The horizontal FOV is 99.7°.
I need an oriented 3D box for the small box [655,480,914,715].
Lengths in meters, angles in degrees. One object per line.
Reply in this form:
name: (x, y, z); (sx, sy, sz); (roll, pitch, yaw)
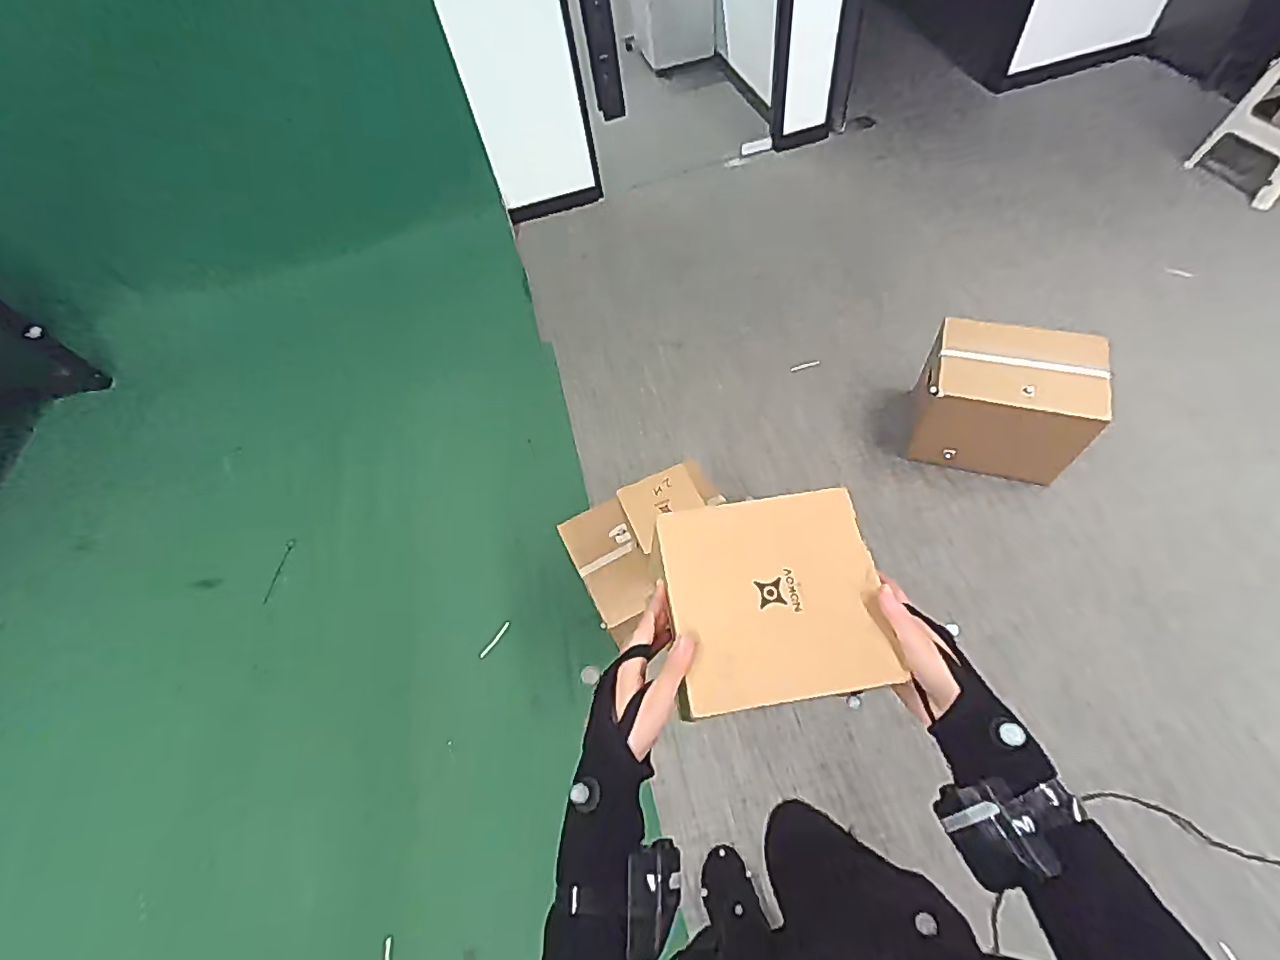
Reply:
small box: (0.110, 0.118, 0.508); (0.179, 0.176, 0.168); (-8, 65, -6)

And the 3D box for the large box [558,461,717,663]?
large box: (0.053, 0.225, 1.446); (0.408, 0.320, 0.320); (-28, 56, -9)

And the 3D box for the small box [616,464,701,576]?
small box: (0.060, 0.101, 1.228); (0.168, 0.176, 0.179); (-22, 57, -8)
